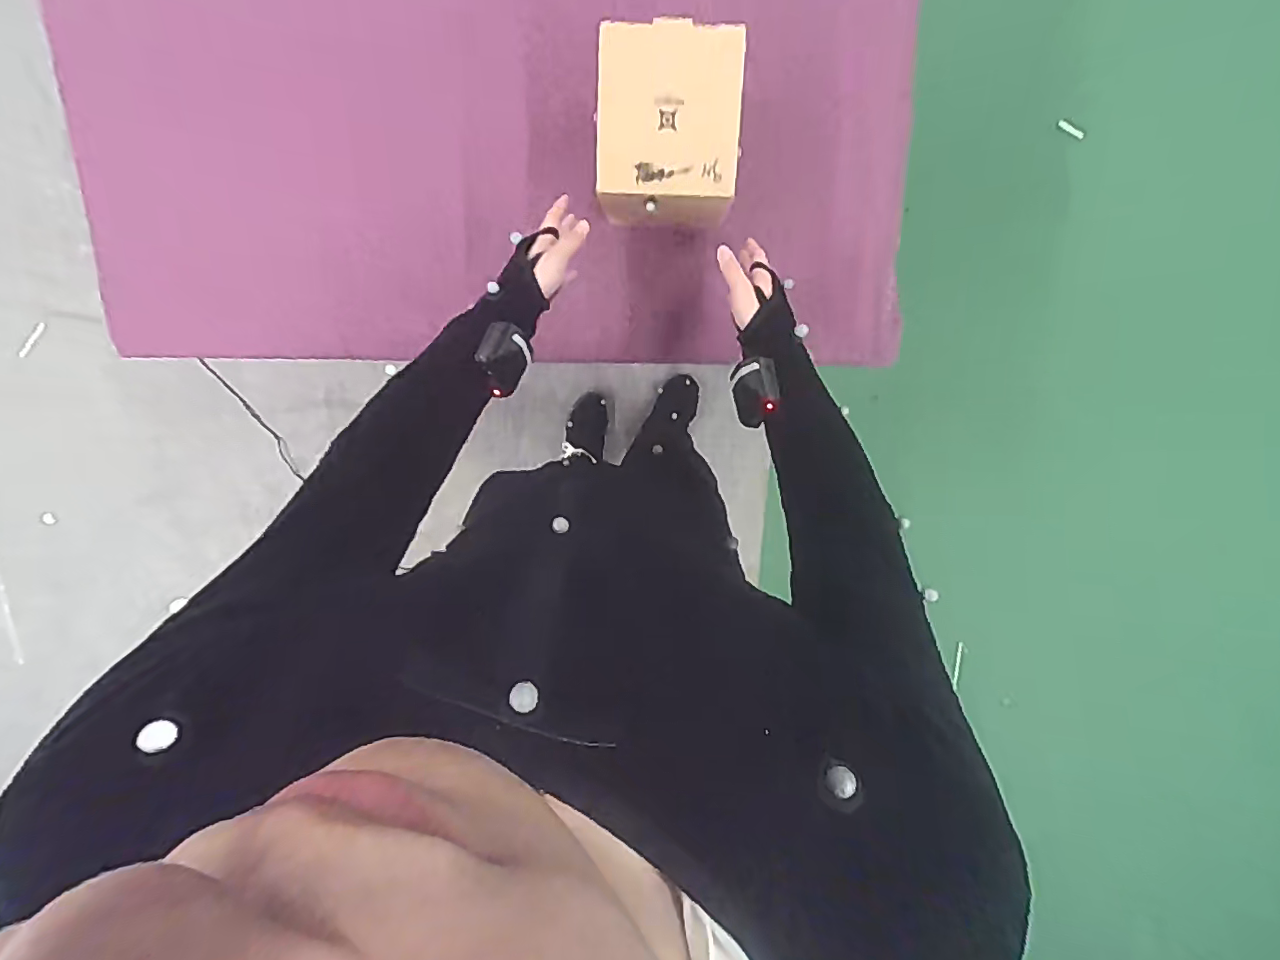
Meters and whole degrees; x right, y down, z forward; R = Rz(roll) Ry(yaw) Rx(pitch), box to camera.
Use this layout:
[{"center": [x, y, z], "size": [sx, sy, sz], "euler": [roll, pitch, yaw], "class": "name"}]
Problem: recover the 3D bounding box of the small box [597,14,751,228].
[{"center": [0.038, -0.436, 0.683], "size": [0.168, 0.176, 0.179], "euler": [3, 103, 2], "class": "small box"}]
